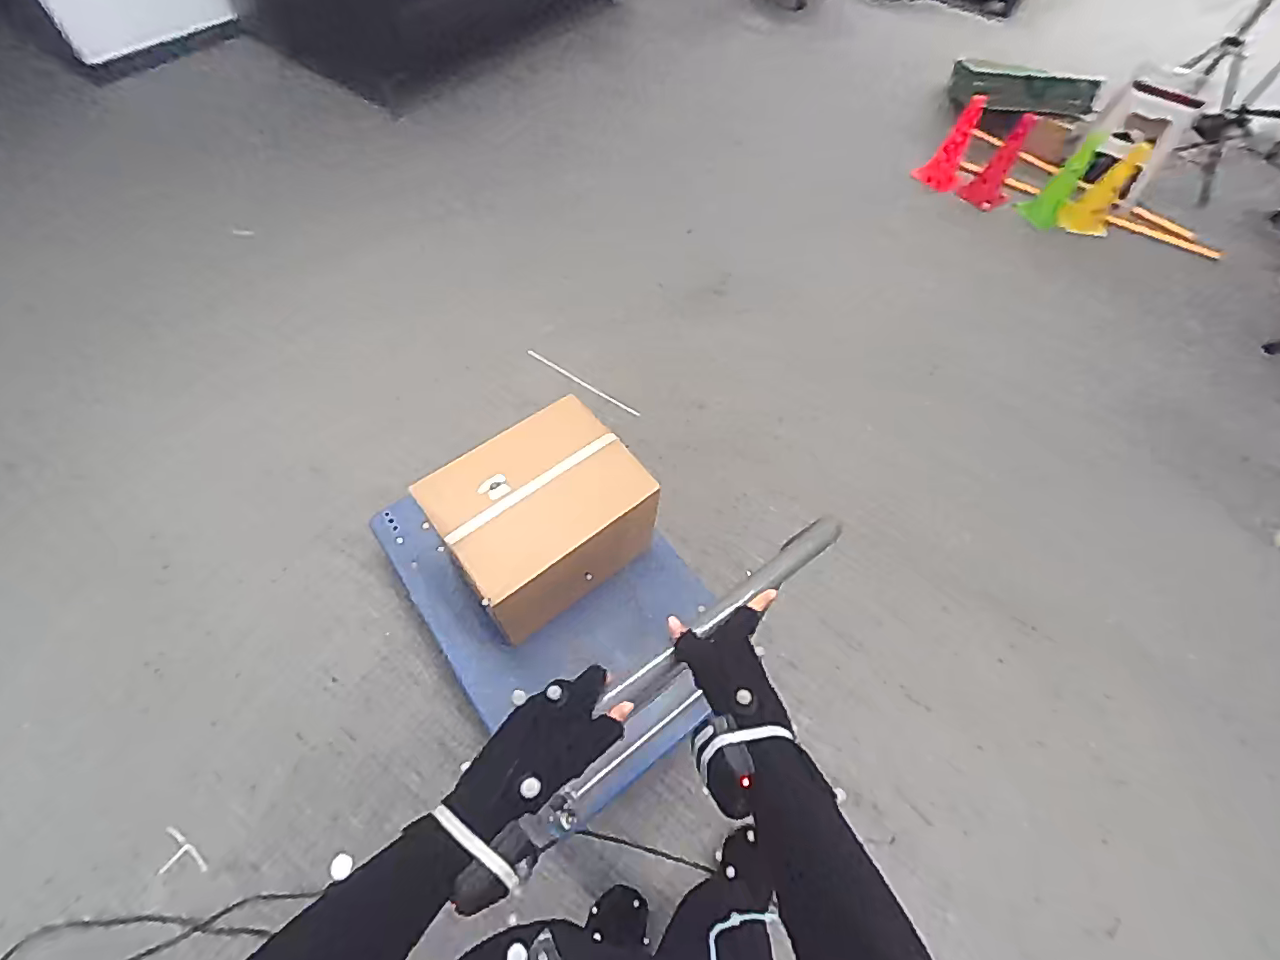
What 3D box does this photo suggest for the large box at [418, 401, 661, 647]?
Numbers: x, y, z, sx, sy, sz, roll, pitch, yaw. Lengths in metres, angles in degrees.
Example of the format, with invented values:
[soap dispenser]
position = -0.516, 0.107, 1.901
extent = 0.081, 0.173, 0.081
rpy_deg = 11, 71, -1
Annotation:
[large box]
position = -0.207, 0.103, 1.225
extent = 0.408, 0.320, 0.320
rpy_deg = -36, 67, -21
